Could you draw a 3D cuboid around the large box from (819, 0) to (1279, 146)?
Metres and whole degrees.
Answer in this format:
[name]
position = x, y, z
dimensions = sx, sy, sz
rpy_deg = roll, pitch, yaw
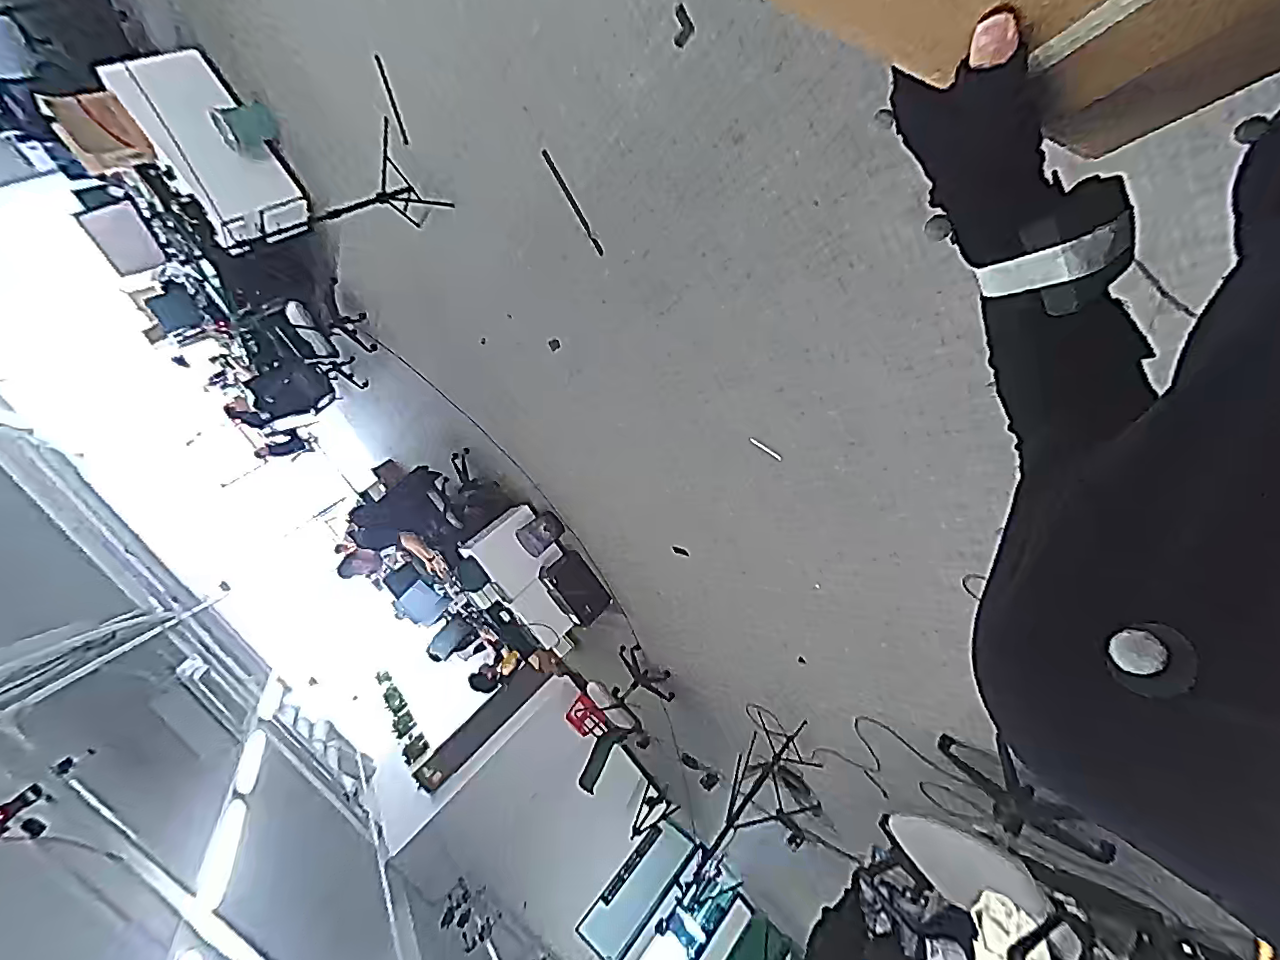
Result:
[large box]
position = 0.268, -0.388, 0.140
dimensions = 0.408, 0.320, 0.320
rpy_deg = -9, 87, 60
